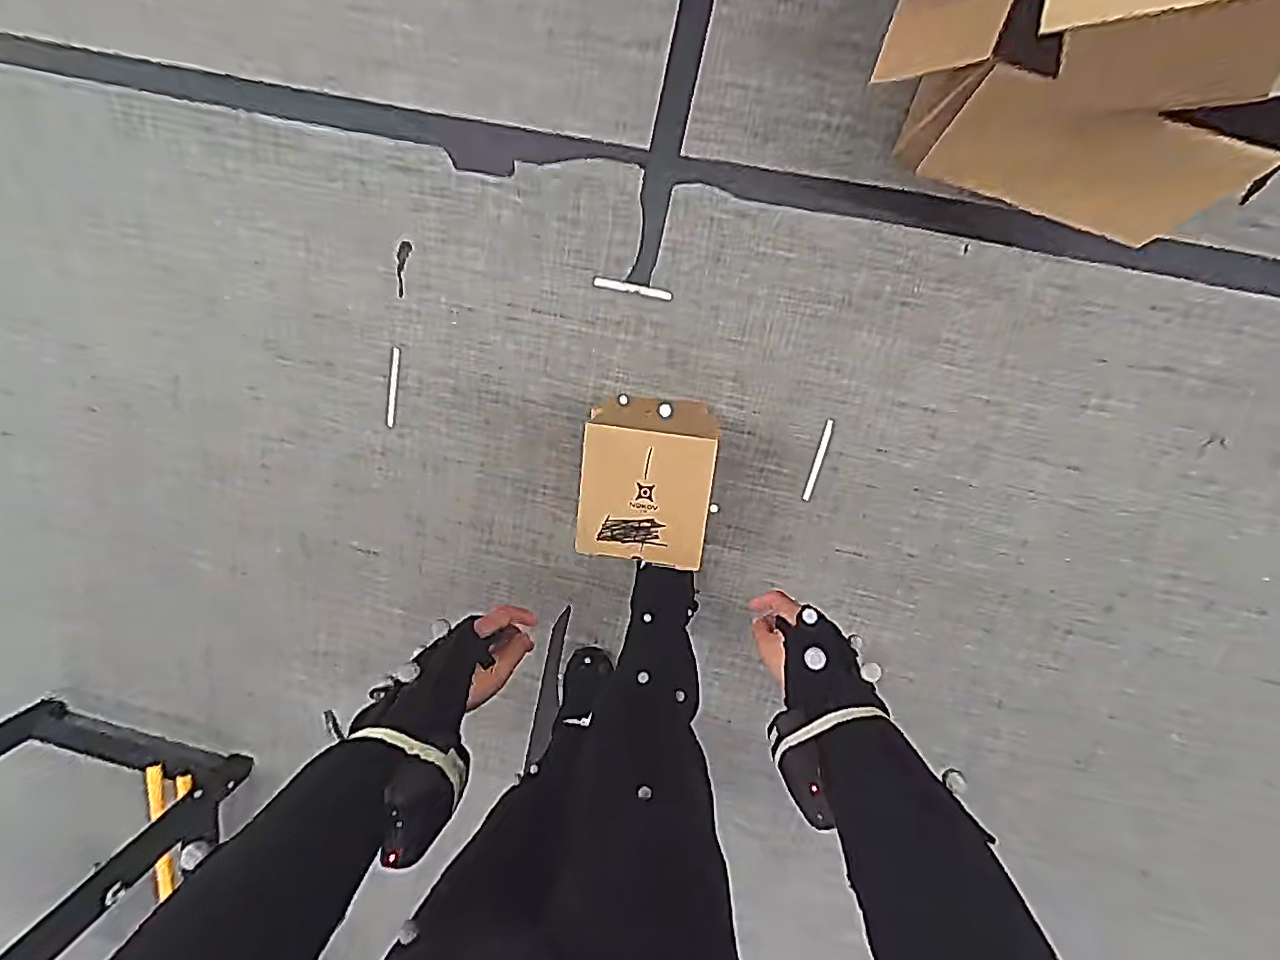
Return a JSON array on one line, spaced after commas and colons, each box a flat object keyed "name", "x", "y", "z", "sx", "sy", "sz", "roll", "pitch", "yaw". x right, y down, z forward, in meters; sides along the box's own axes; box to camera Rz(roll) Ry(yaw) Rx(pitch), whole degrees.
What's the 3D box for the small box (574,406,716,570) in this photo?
[{"name": "small box", "x": 0.013, "y": 0.002, "z": 0.755, "sx": 0.168, "sy": 0.176, "sz": 0.179, "roll": 8, "pitch": 106, "yaw": 5}]
